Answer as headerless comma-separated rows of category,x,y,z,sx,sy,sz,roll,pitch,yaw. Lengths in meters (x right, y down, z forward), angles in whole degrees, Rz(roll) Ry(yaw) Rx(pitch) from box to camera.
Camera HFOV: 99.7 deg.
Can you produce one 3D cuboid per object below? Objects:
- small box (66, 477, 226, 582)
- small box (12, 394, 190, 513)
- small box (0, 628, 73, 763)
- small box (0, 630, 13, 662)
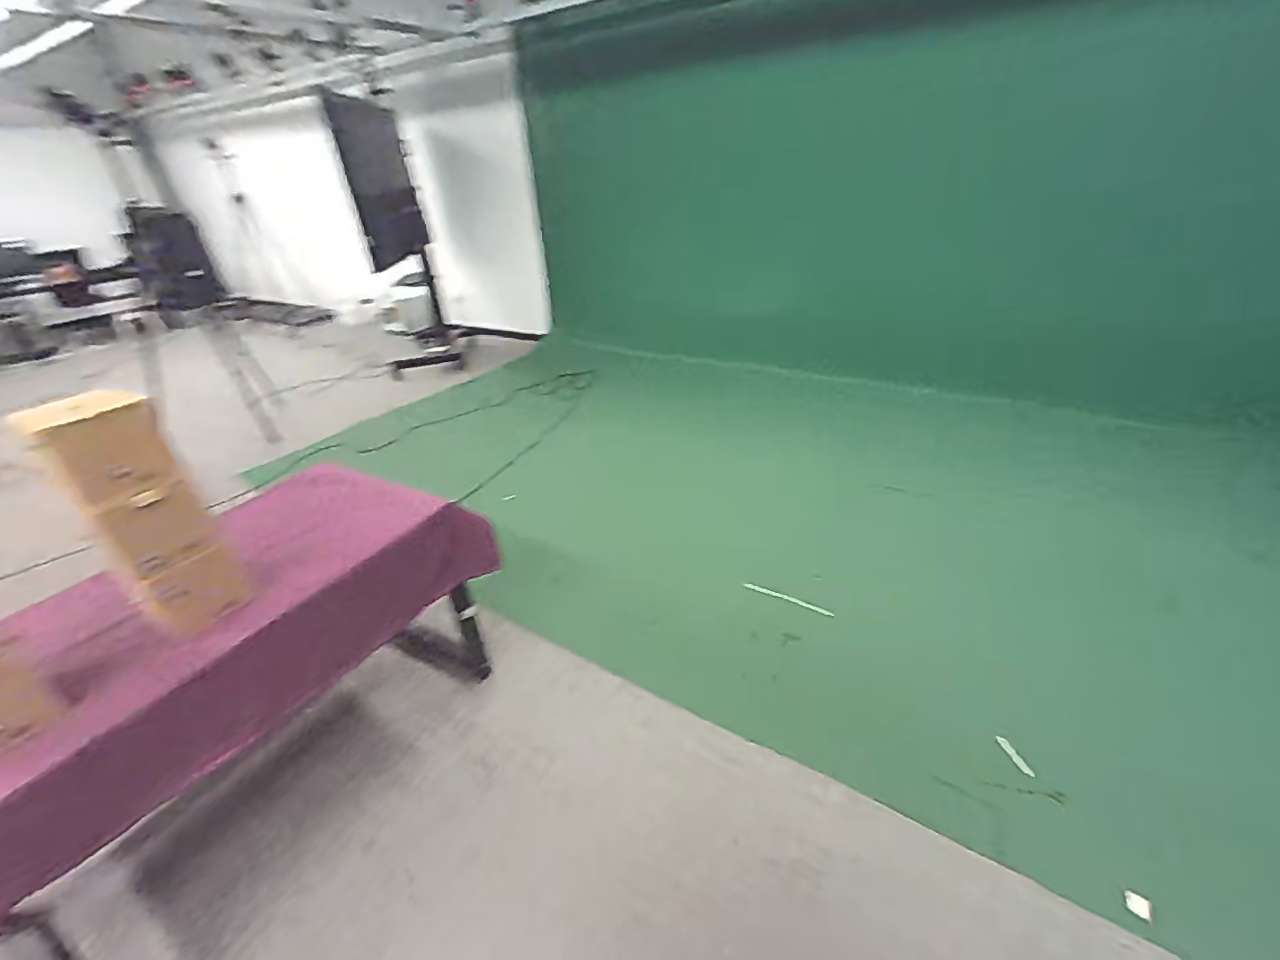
small box,-1.022,0.089,1.132,0.179,0.176,0.168,11,34,28
small box,-1.041,-0.054,1.056,0.179,0.176,0.168,12,34,27
small box,-1.178,0.394,0.957,0.179,0.176,0.168,14,35,29
small box,-1.193,0.252,0.876,0.179,0.176,0.168,14,34,28
